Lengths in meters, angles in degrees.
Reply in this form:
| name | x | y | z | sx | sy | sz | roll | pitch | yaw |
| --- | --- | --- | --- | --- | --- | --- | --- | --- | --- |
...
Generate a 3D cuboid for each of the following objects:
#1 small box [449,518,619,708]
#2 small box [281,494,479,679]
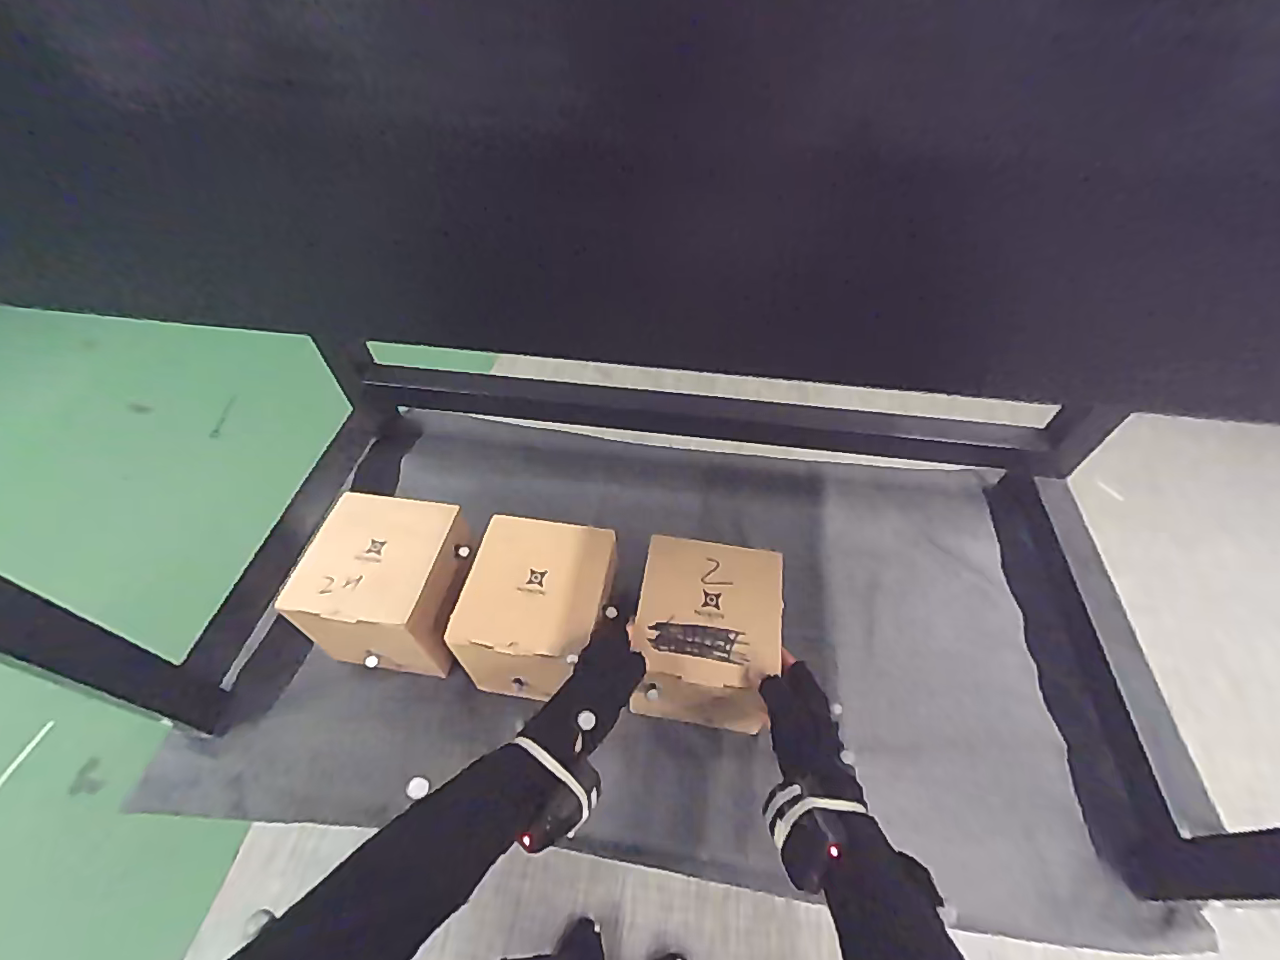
| name | x | y | z | sx | sy | sz | roll | pitch | yaw |
| --- | --- | --- | --- | --- | --- | --- | --- | --- | --- |
| small box | -0.124 | 0.176 | 0.713 | 0.168 | 0.176 | 0.179 | 7 | 52 | 5 |
| small box | -0.328 | 0.146 | 0.735 | 0.168 | 0.176 | 0.179 | 7 | 51 | 6 |
